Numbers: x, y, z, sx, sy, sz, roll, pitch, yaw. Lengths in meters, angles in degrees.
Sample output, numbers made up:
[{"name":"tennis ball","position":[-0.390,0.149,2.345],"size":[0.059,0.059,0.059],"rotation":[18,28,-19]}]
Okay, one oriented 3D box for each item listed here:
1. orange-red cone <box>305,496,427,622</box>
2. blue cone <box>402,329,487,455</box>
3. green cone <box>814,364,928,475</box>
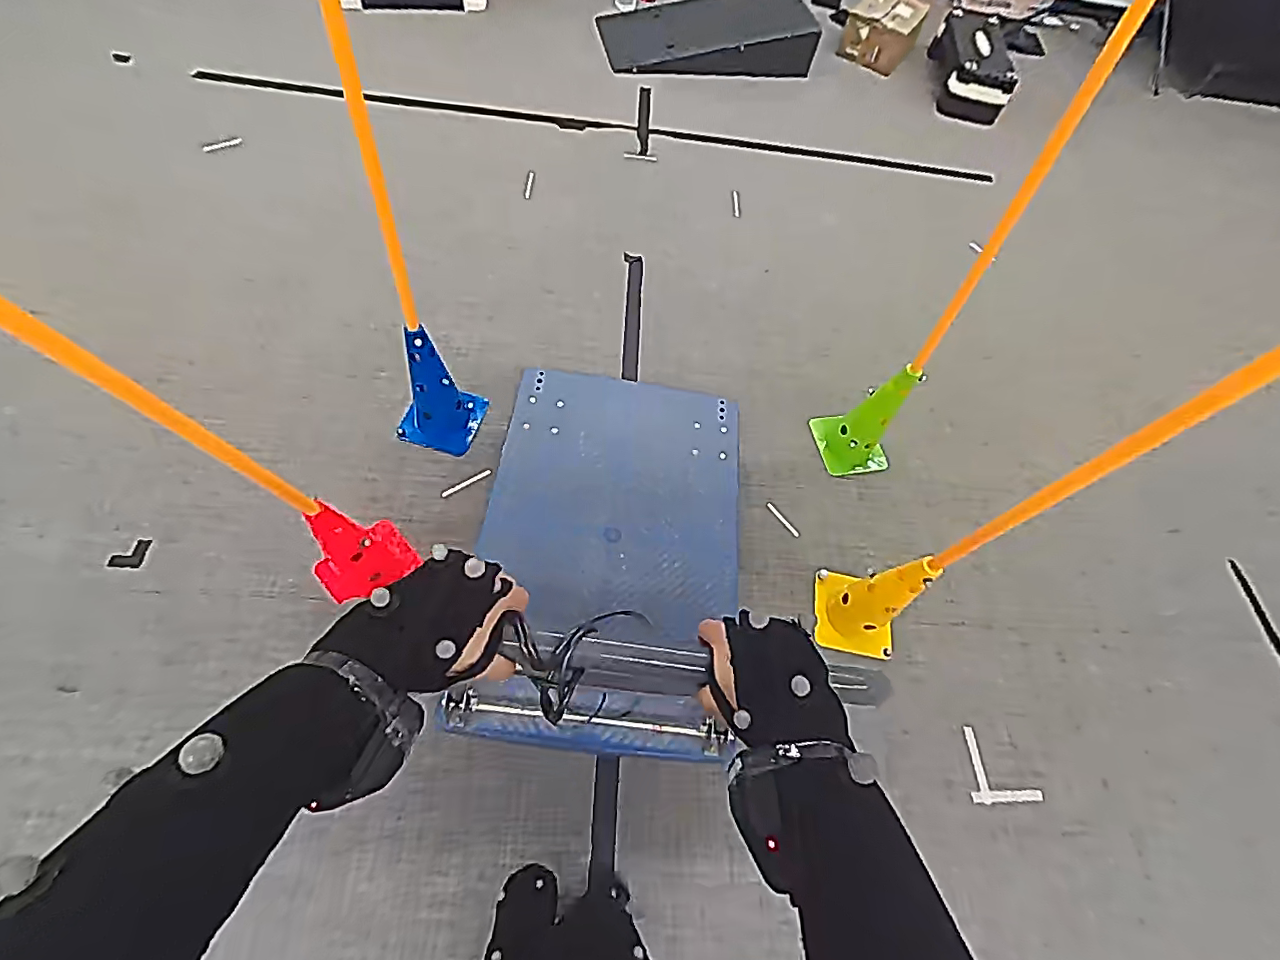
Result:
[{"name":"orange-red cone","position":[-0.607,0.127,1.124],"size":[0.199,0.360,0.198],"rotation":[-37,73,-25]},{"name":"blue cone","position":[-0.518,-0.242,1.354],"size":[0.193,0.380,0.192],"rotation":[18,62,2]},{"name":"green cone","position":[0.656,-0.189,1.472],"size":[0.200,0.368,0.202],"rotation":[-8,64,-12]}]
